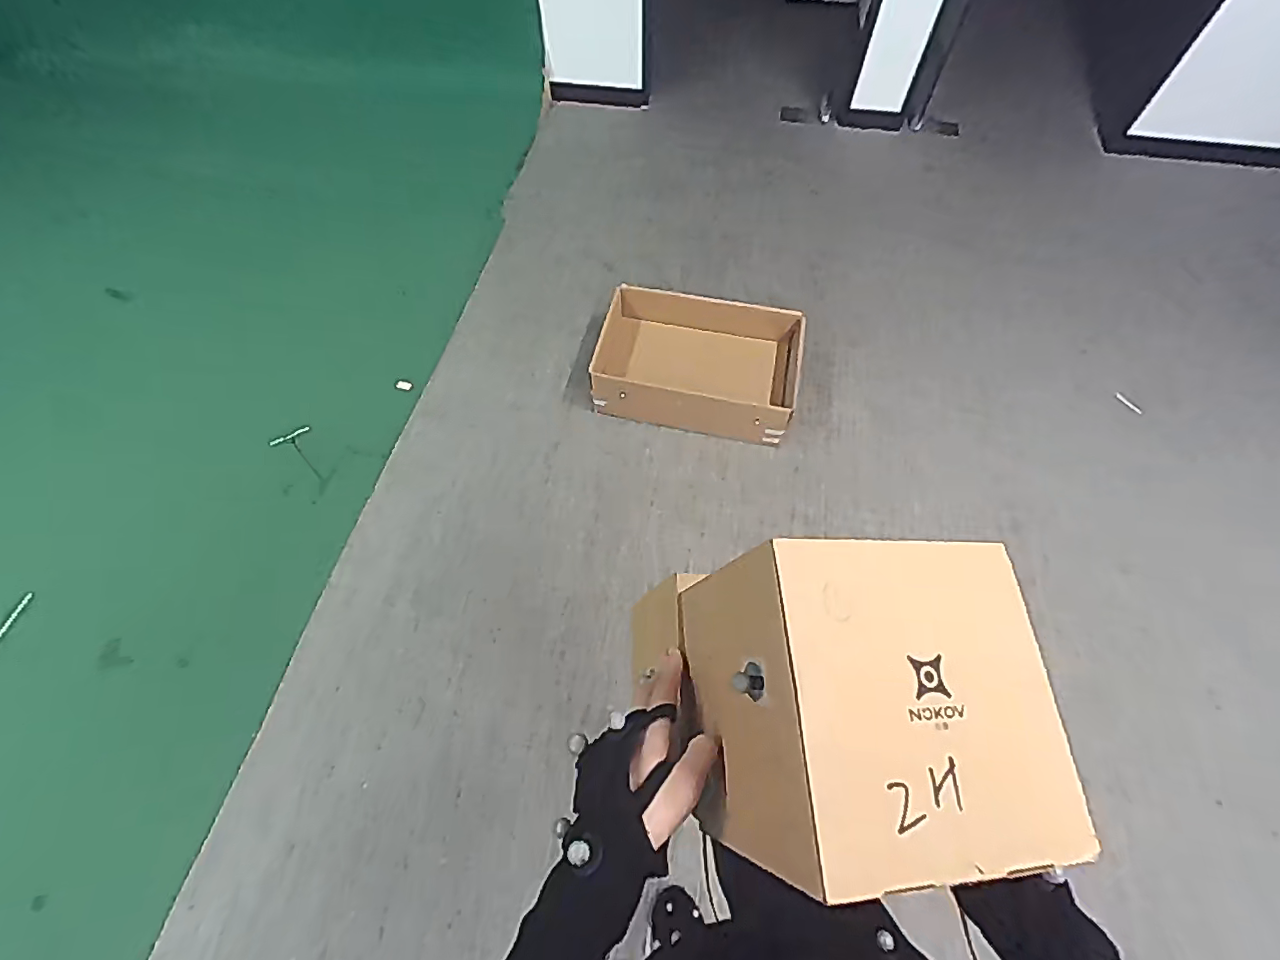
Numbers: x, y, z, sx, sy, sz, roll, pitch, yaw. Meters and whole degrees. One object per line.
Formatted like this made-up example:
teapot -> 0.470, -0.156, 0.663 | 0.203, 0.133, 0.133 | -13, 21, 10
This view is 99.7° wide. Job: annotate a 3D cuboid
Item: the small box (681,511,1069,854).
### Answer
small box -> 0.132, 0.133, 0.378 | 0.168, 0.176, 0.179 | 3, 68, -13
